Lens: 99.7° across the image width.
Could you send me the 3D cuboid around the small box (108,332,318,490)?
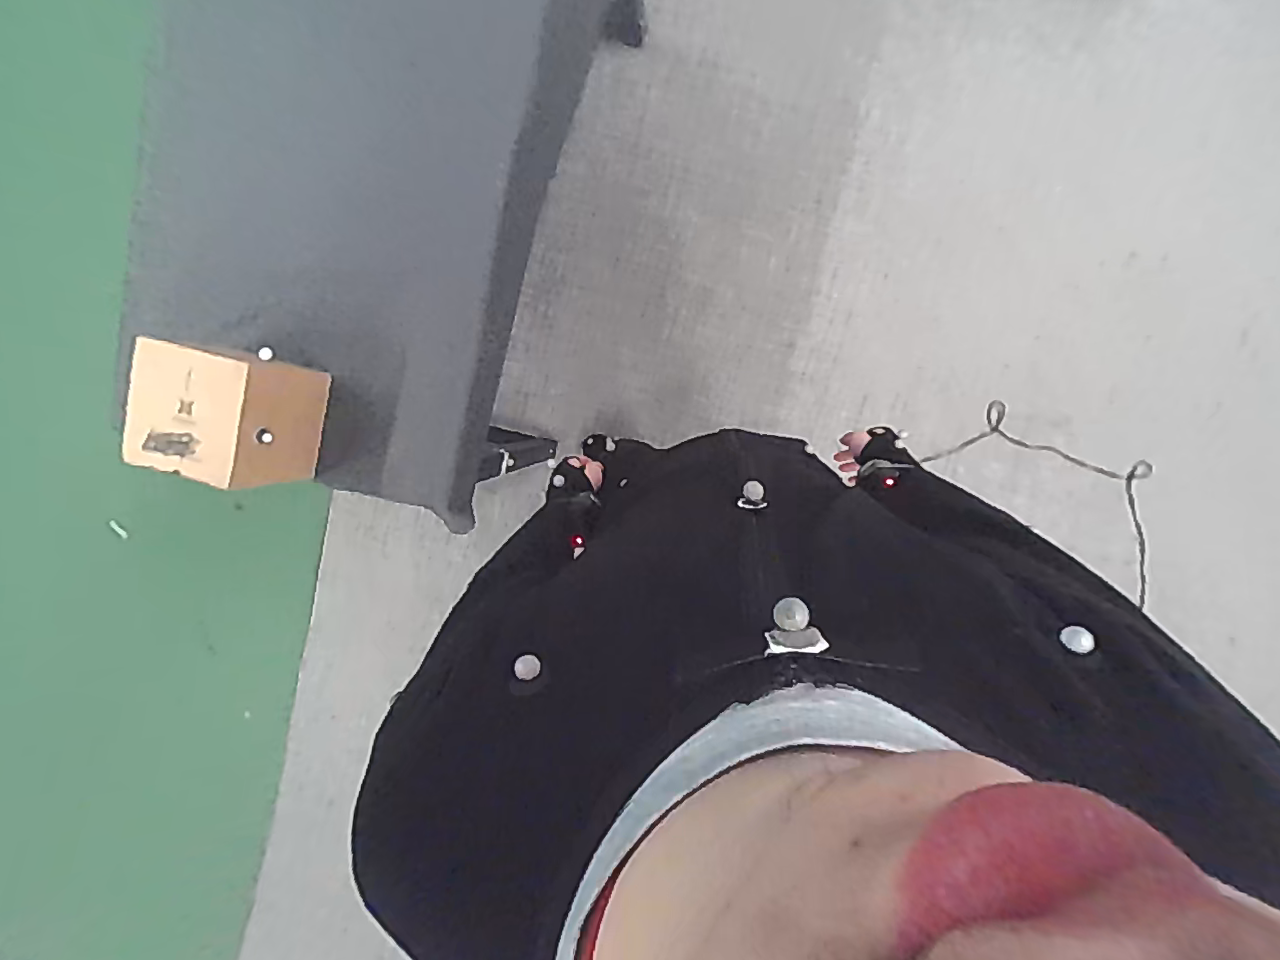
[{"bbox_3d":[-0.605,-0.099,0.786,0.168,0.176,0.179,15,97,2],"label":"small box"}]
